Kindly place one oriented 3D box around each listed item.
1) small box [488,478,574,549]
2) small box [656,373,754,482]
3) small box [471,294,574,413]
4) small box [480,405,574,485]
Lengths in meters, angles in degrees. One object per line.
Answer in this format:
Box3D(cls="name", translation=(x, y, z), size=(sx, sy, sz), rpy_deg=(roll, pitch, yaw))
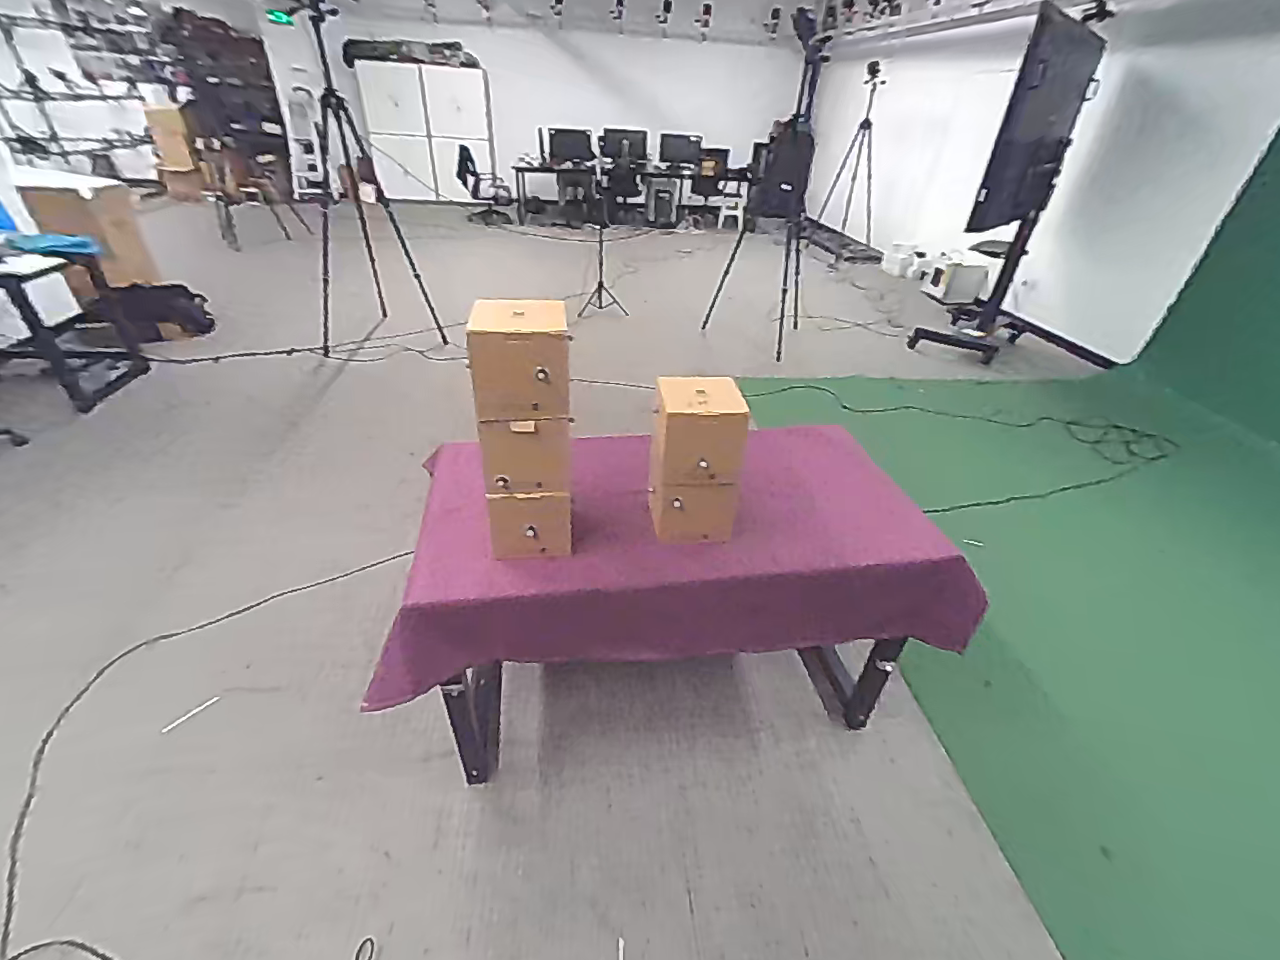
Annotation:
Box3D(cls="small box", translation=(-0.229, 0.038, 1.178), size=(0.168, 0.176, 0.179), rpy_deg=(0, 36, -7))
Box3D(cls="small box", translation=(0.128, -0.113, 1.142), size=(0.168, 0.176, 0.179), rpy_deg=(0, 35, -5))
Box3D(cls="small box", translation=(-0.207, -0.231, 0.994), size=(0.168, 0.176, 0.179), rpy_deg=(-1, 35, -9))
Box3D(cls="small box", translation=(-0.218, -0.100, 1.090), size=(0.168, 0.176, 0.179), rpy_deg=(0, 34, -7))
